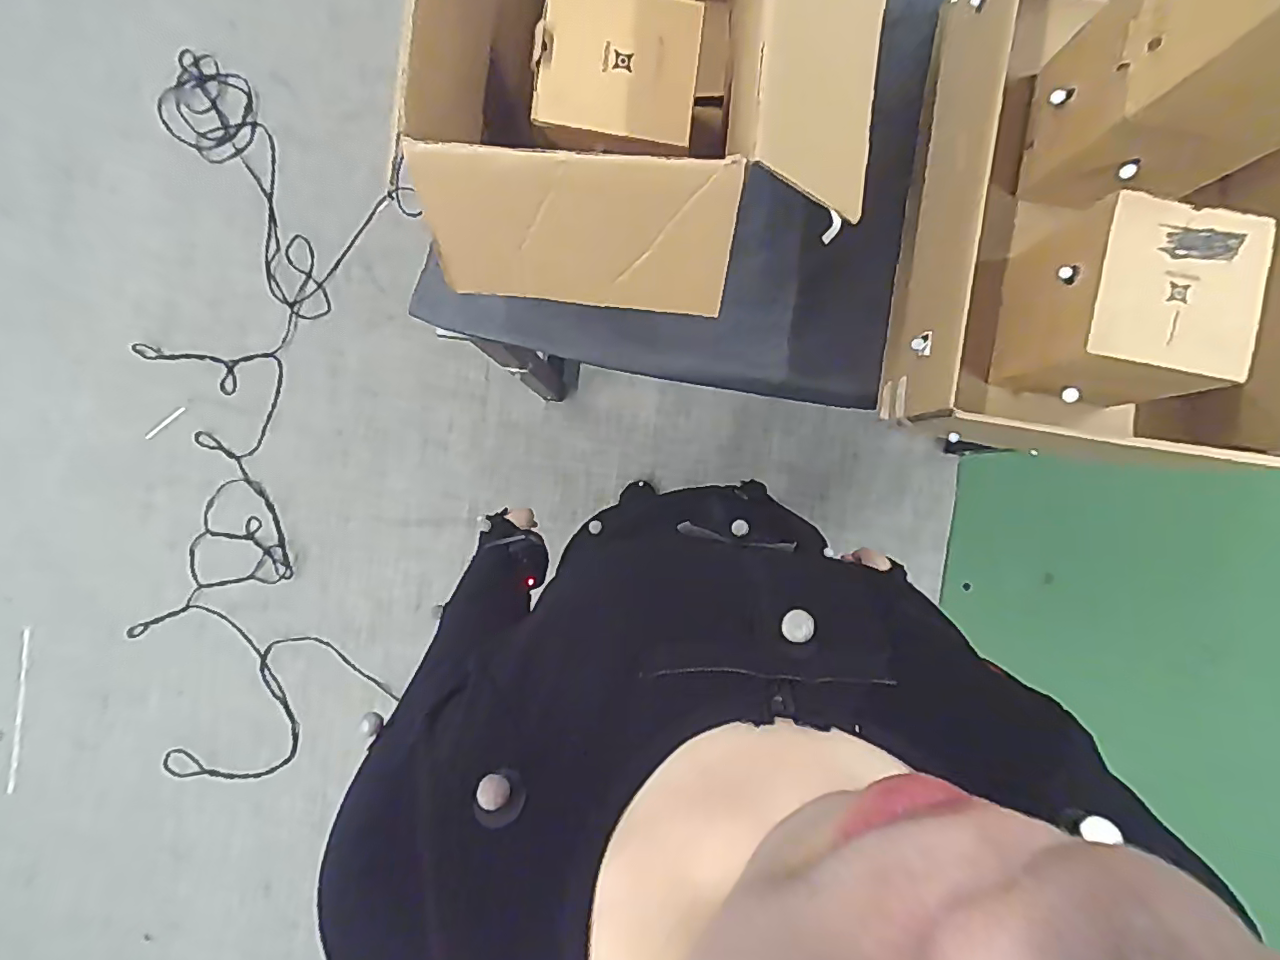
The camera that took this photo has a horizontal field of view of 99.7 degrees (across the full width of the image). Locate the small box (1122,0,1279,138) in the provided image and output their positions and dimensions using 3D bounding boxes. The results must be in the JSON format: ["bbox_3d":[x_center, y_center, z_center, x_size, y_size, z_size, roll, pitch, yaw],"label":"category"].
[{"bbox_3d":[0.585,-0.435,0.475,0.179,0.176,0.168,8,92,0],"label":"small box"}]
